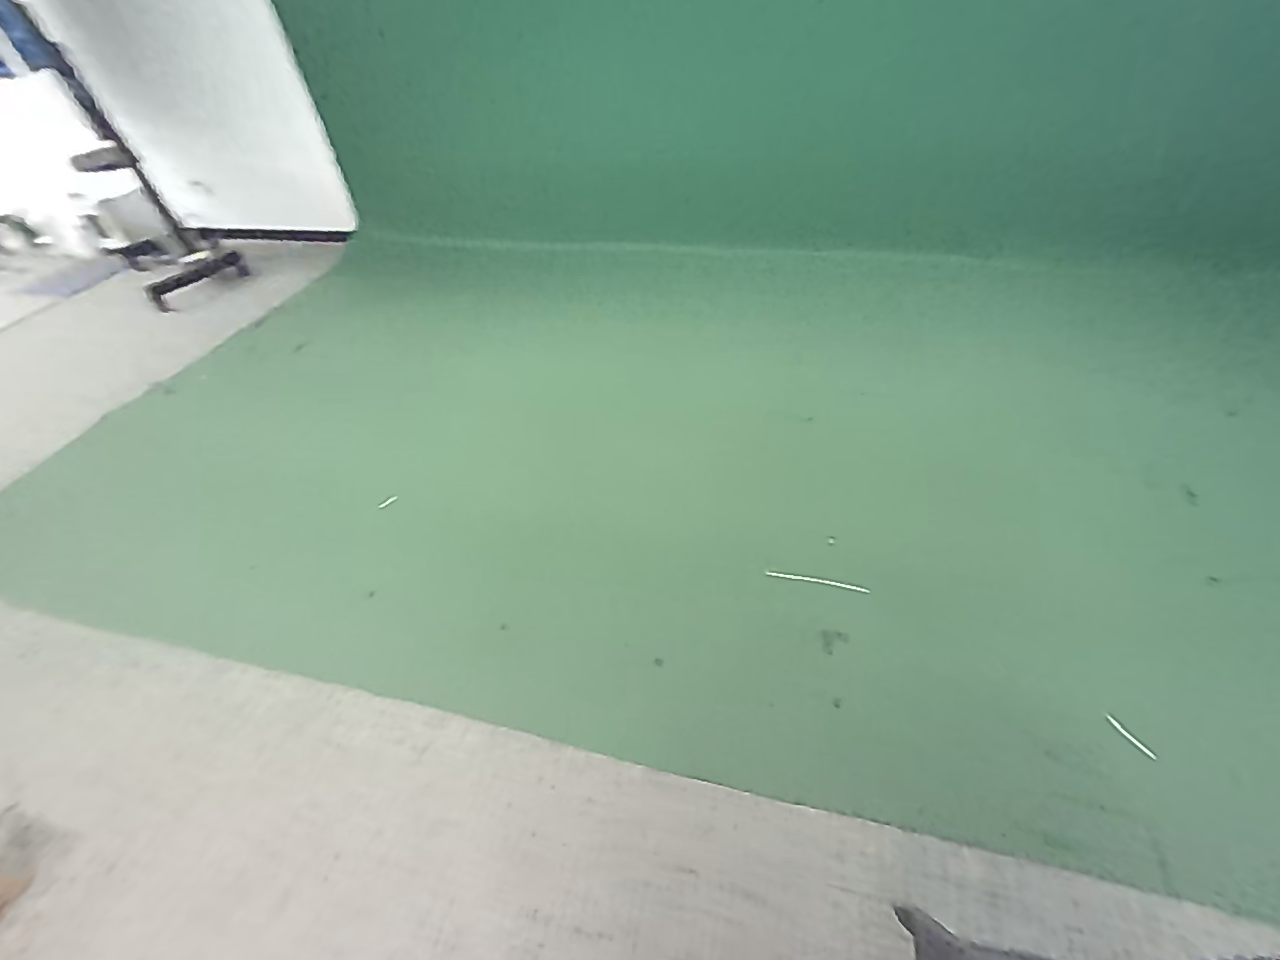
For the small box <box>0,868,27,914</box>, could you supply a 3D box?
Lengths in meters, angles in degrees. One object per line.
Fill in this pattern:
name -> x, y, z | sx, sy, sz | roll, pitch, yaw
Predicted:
small box -> -1.550, 0.941, 1.191 | 0.179, 0.176, 0.168 | 4, 45, 9
